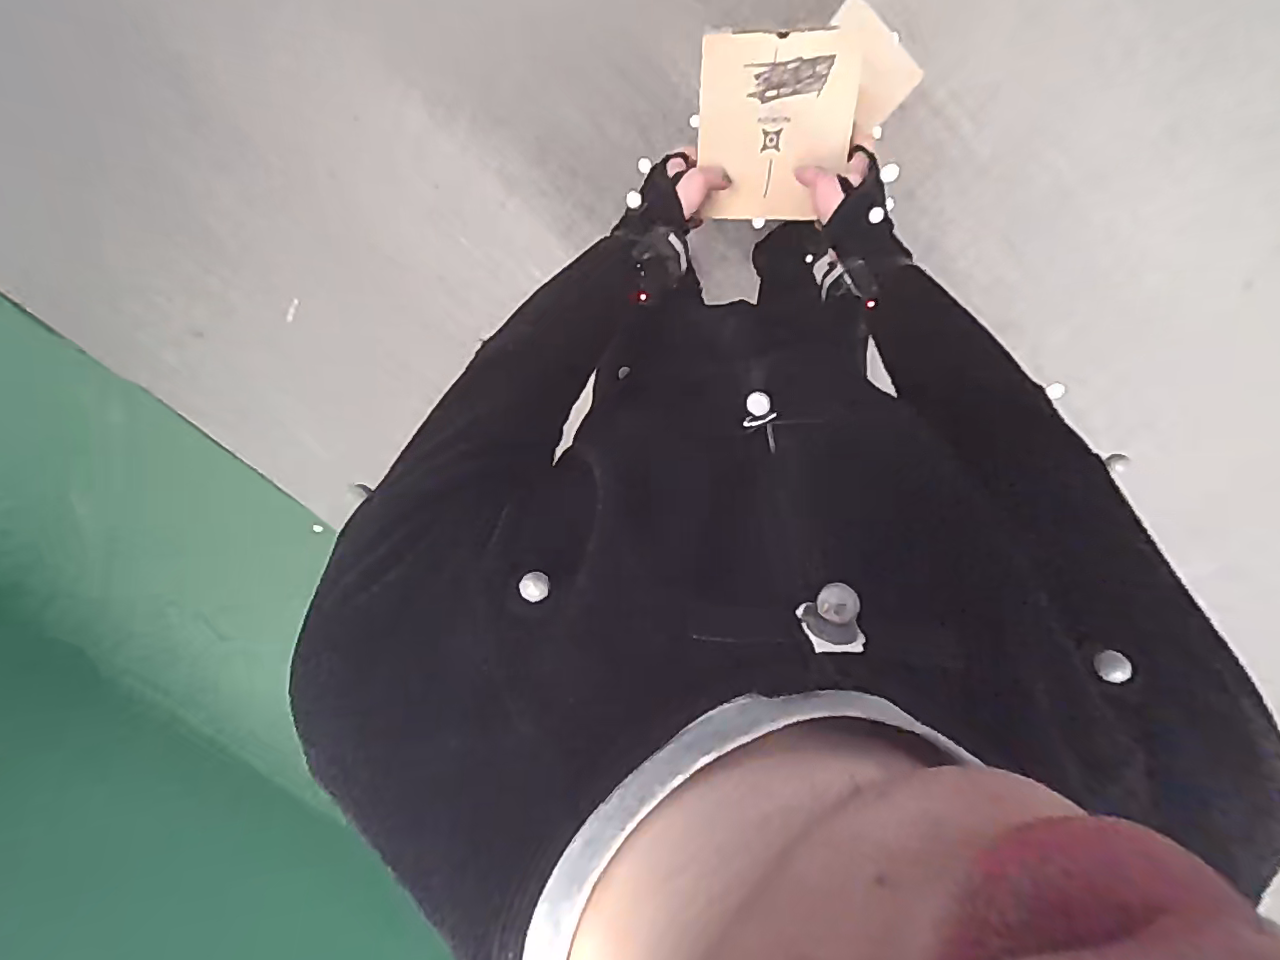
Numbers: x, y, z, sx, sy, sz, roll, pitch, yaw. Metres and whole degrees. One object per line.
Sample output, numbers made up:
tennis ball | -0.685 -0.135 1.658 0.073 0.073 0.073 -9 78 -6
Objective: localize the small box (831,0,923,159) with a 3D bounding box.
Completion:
small box | 0.343 -0.660 0.920 0.168 0.176 0.179 40 124 -11

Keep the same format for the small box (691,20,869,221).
small box | 0.154 -0.409 0.638 0.168 0.176 0.179 6 120 10
